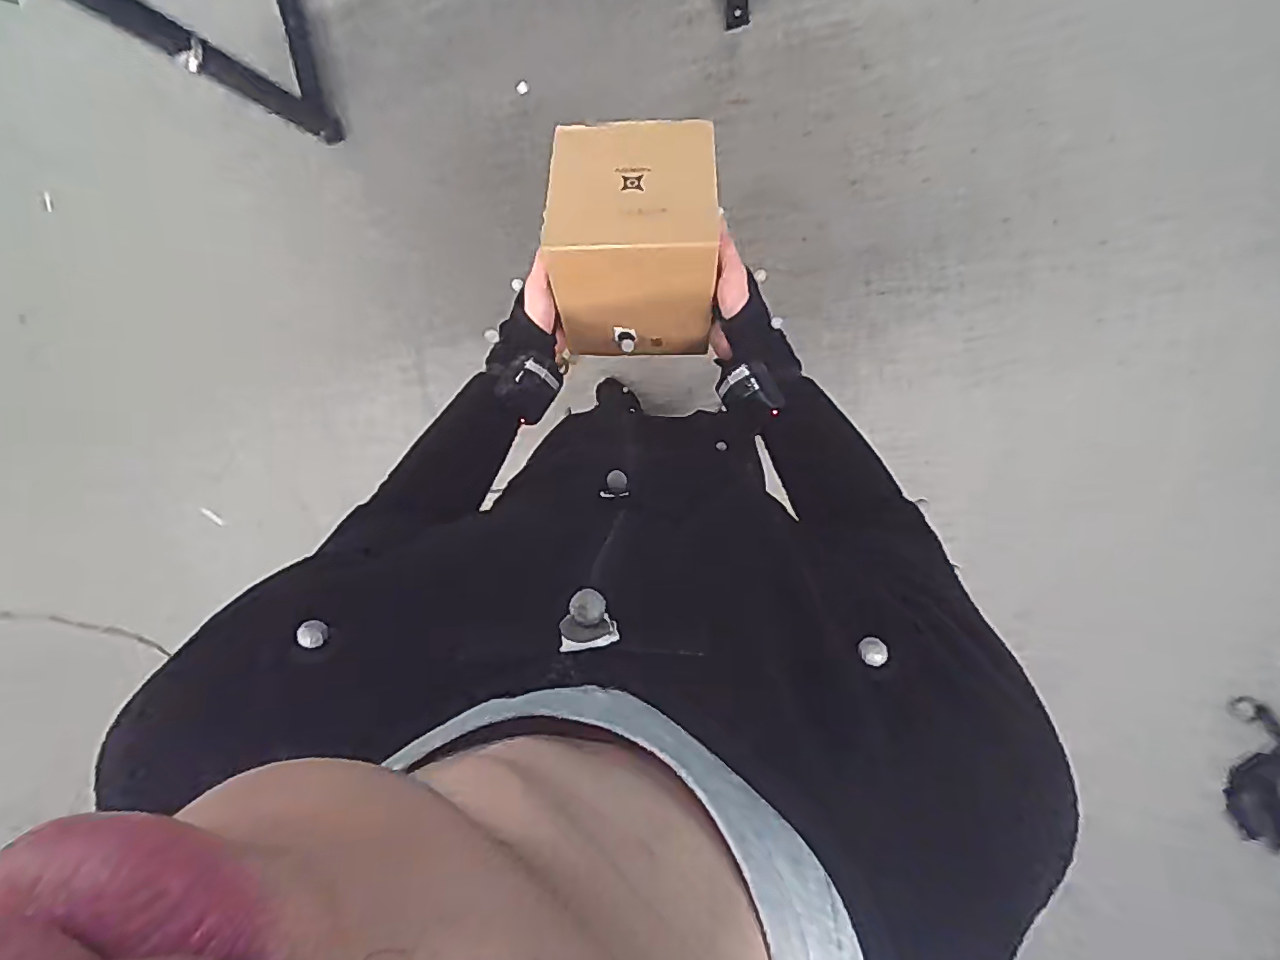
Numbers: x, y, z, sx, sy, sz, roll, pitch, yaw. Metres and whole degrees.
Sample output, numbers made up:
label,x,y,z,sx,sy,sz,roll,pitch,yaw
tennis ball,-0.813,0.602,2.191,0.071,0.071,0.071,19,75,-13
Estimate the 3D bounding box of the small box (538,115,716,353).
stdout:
label,x,y,z,sx,sy,sz,roll,pitch,yaw
small box,-0.008,-0.262,0.596,0.168,0.176,0.179,-1,68,3
